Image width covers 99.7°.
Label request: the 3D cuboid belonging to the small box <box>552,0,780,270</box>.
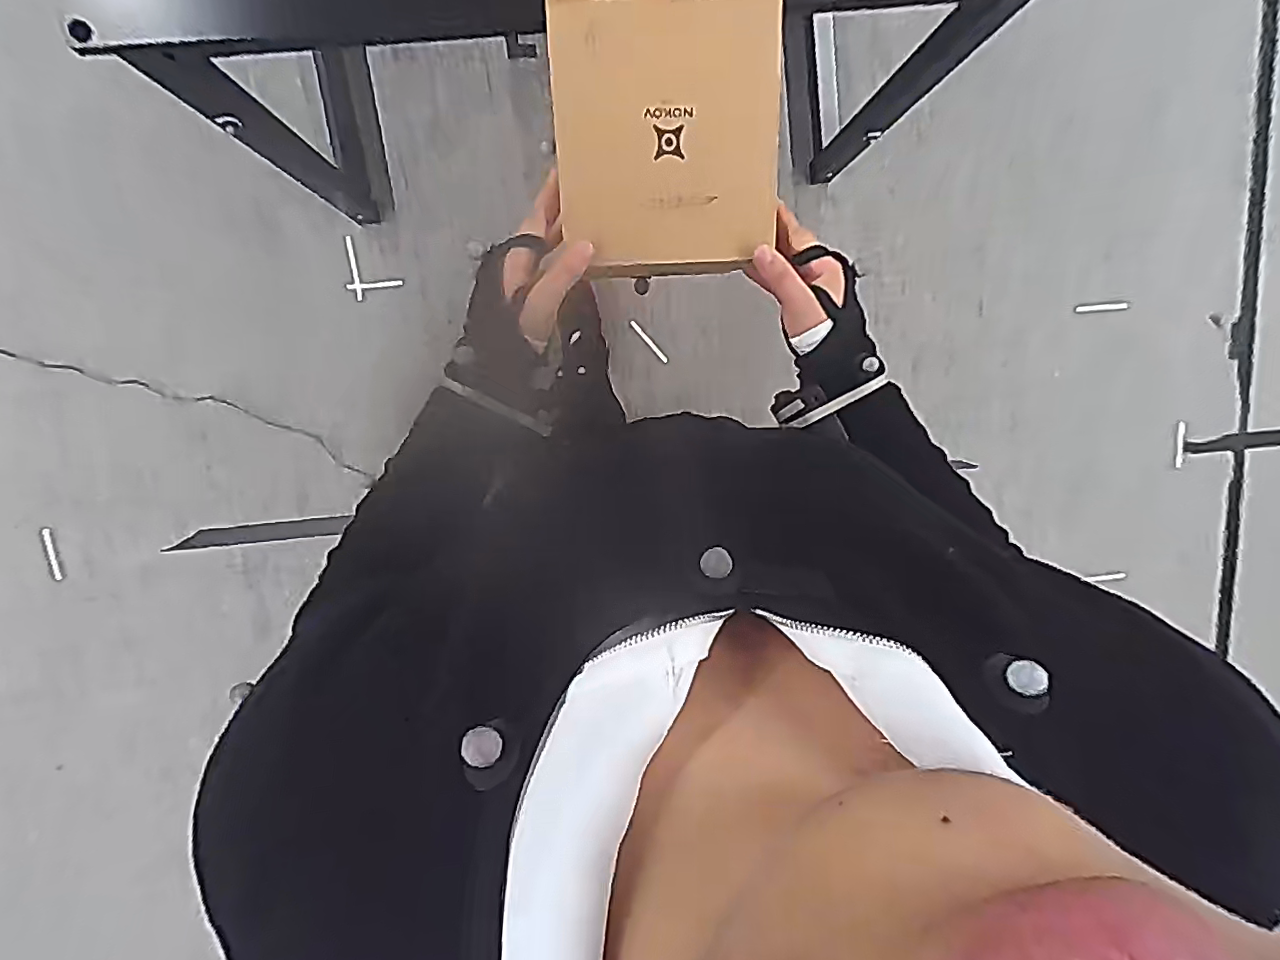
[{"bbox_3d":[0.014,-0.287,0.476,0.168,0.176,0.179,-3,108,-4],"label":"small box"}]
